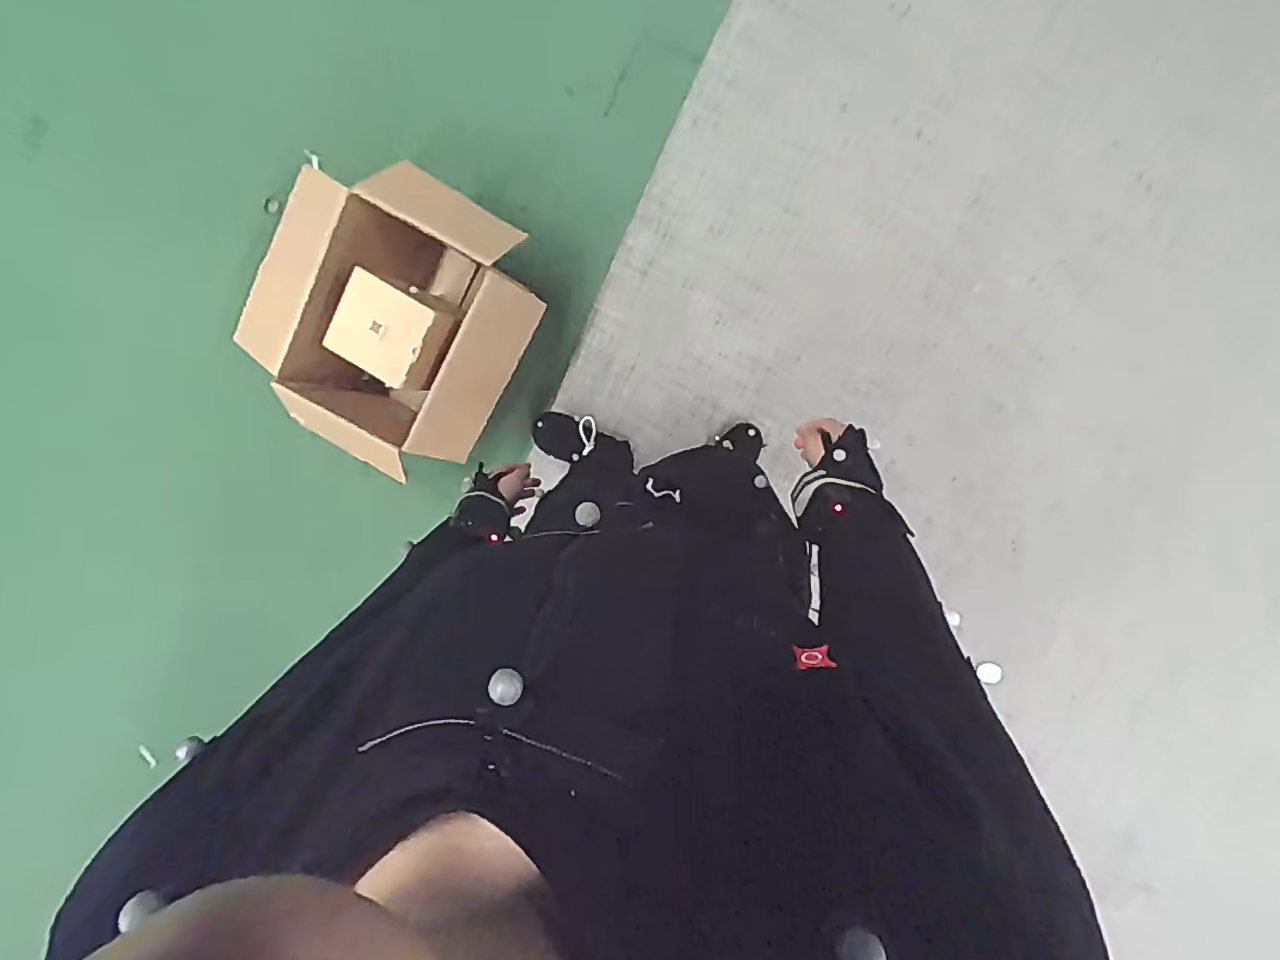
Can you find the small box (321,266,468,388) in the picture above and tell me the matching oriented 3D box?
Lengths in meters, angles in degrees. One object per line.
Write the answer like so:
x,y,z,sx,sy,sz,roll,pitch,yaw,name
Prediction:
-0.480,-0.293,1.080,0.179,0.176,0.168,30,100,0,small box
